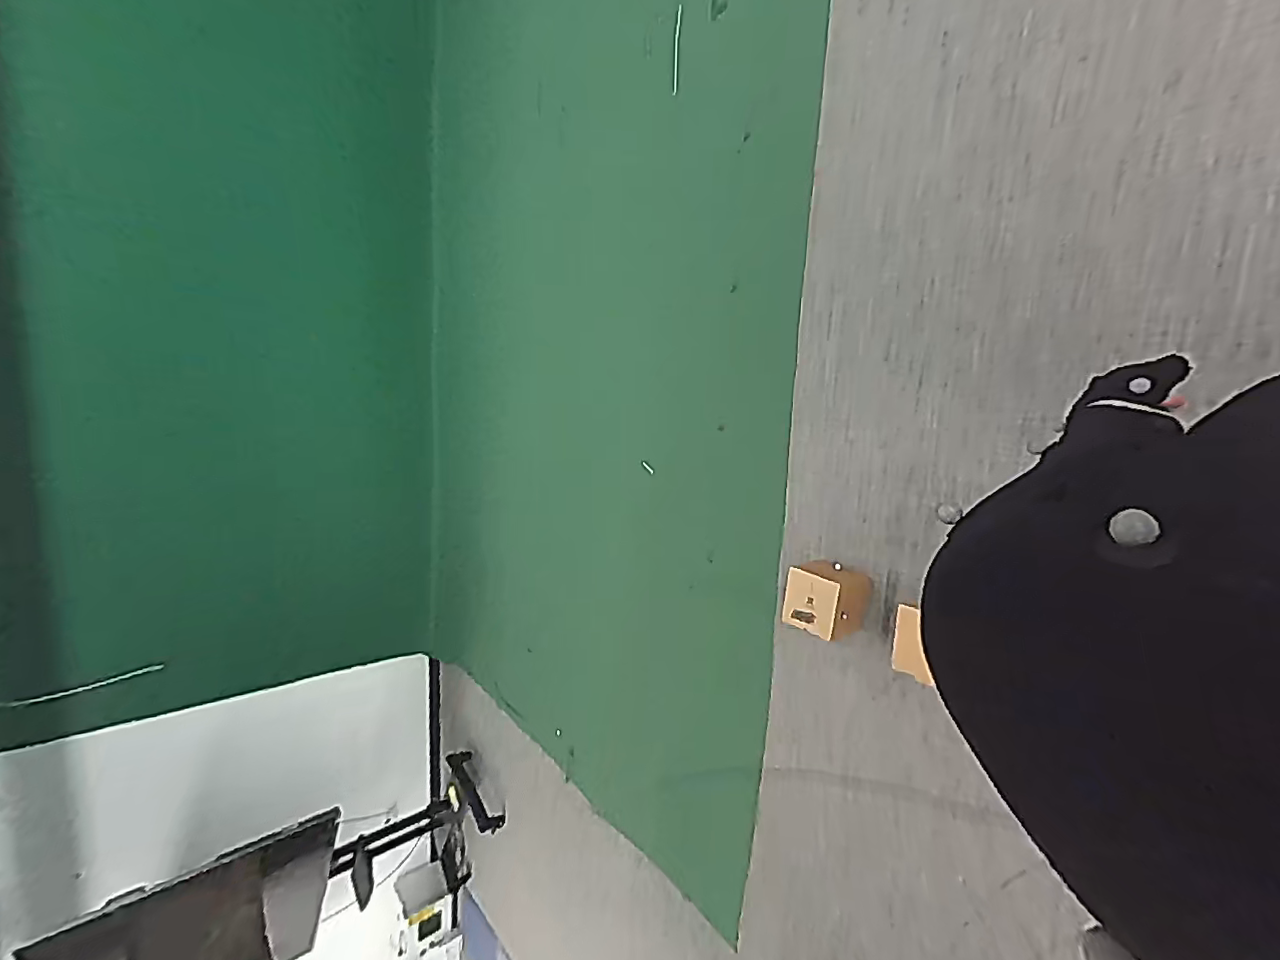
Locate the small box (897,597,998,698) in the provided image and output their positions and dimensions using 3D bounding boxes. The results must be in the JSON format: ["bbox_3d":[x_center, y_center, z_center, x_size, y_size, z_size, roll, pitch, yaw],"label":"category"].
[{"bbox_3d":[0.766,0.404,1.343,0.168,0.176,0.179,11,100,49],"label":"small box"}]

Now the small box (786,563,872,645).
[{"bbox_3d":[0.556,0.356,1.588,0.168,0.176,0.179,16,103,48],"label":"small box"}]
